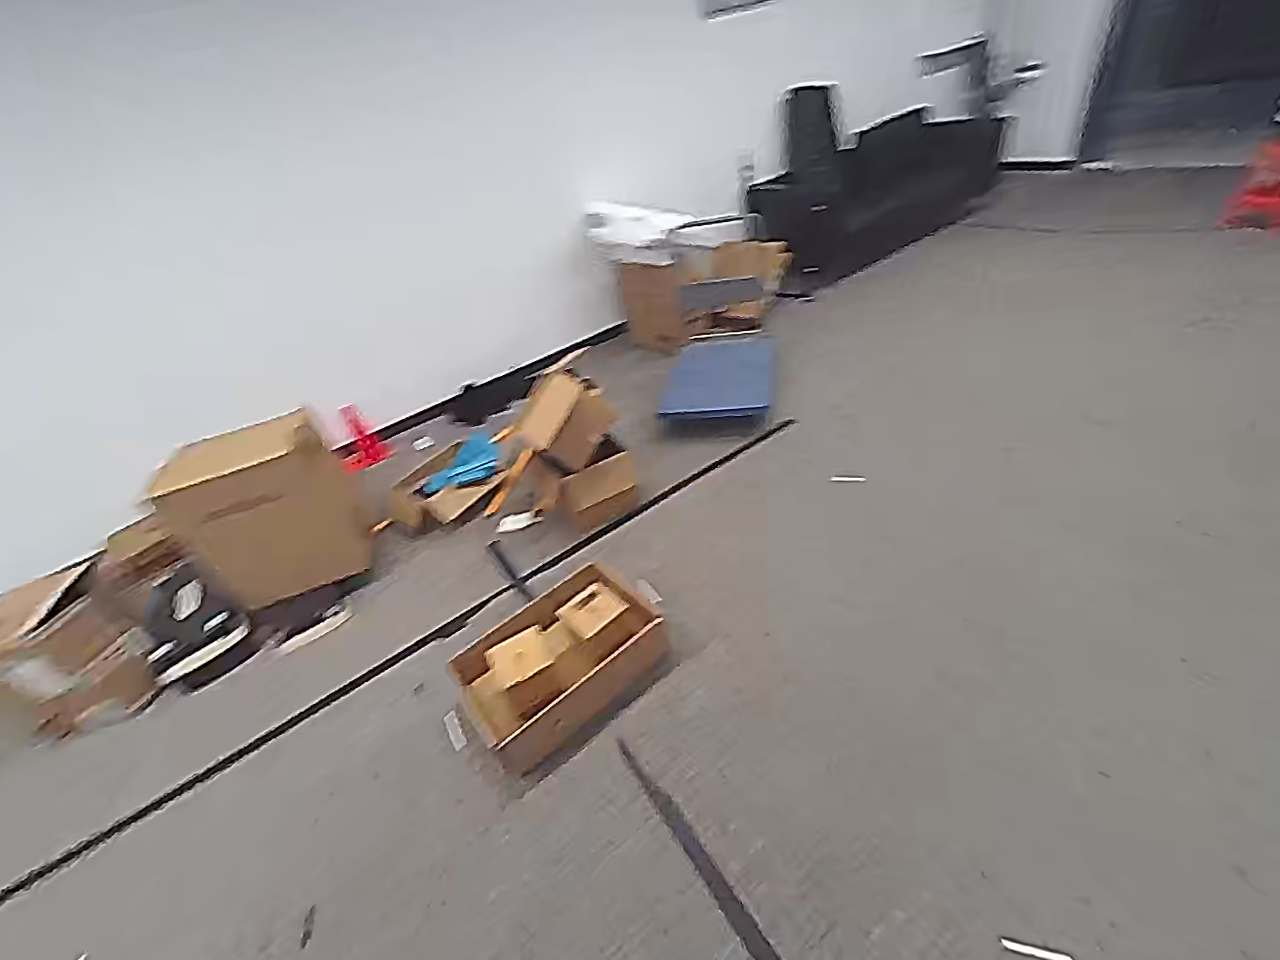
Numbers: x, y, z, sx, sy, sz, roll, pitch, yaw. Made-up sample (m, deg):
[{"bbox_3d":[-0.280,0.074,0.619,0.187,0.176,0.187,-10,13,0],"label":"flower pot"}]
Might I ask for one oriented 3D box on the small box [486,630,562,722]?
[{"bbox_3d":[-0.366,0.619,1.708,0.168,0.176,0.179,-25,36,-17],"label":"small box"}]
